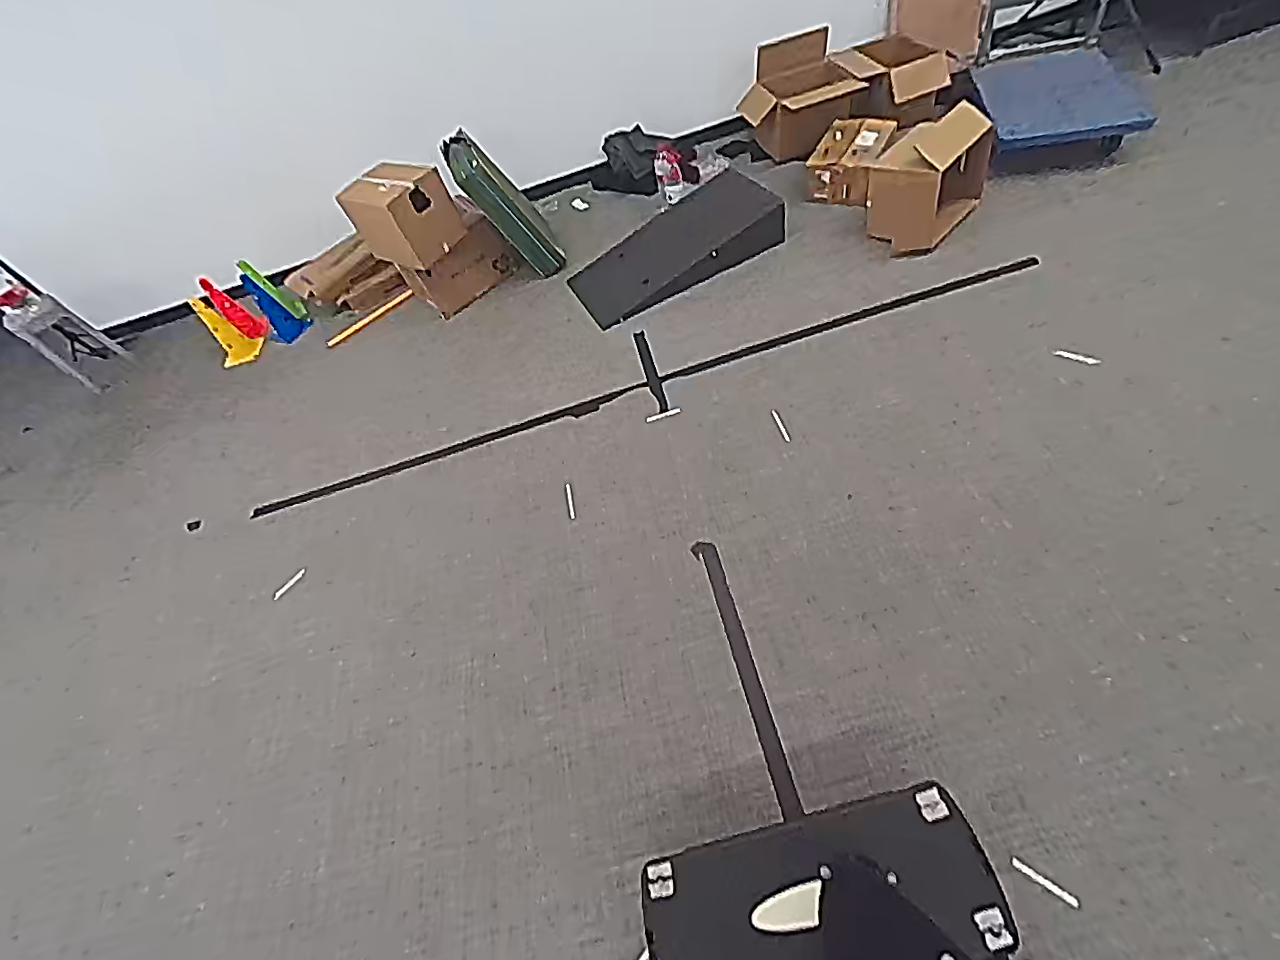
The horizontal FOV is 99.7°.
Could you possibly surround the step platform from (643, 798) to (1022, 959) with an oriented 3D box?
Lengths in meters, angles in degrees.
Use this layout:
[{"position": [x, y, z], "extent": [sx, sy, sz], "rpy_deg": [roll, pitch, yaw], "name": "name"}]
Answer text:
[{"position": [0.349, 0.880, 1.075], "extent": [0.684, 0.204, 0.286], "rpy_deg": [-18, 53, 1], "name": "step platform"}]
